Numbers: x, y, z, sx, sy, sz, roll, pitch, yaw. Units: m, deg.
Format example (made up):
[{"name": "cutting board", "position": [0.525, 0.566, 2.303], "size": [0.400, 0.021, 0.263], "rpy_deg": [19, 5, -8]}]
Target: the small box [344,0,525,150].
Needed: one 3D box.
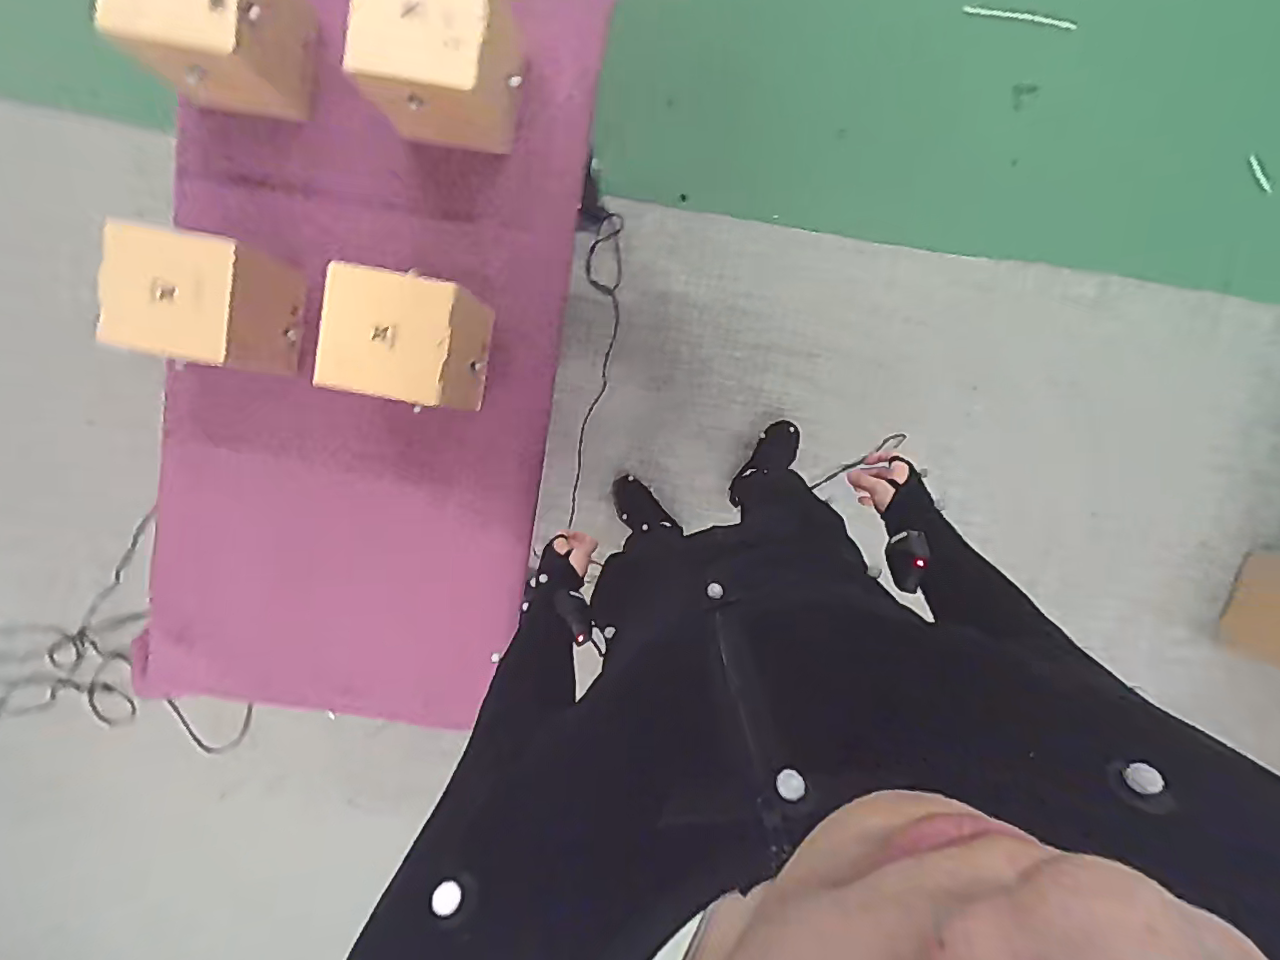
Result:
[{"name": "small box", "position": [-0.280, -0.602, 0.767], "size": [0.179, 0.176, 0.168], "rpy_deg": [11, 96, 1]}]

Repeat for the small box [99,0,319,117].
[{"name": "small box", "position": [-0.597, -0.653, 0.767], "size": [0.179, 0.176, 0.168], "rpy_deg": [9, 97, -1]}]

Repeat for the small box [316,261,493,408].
[{"name": "small box", "position": [-0.339, -0.204, 0.805], "size": [0.179, 0.176, 0.168], "rpy_deg": [10, 94, 1]}]

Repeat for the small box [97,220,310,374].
[{"name": "small box", "position": [-0.635, -0.259, 0.805], "size": [0.179, 0.176, 0.168], "rpy_deg": [10, 95, -2]}]
